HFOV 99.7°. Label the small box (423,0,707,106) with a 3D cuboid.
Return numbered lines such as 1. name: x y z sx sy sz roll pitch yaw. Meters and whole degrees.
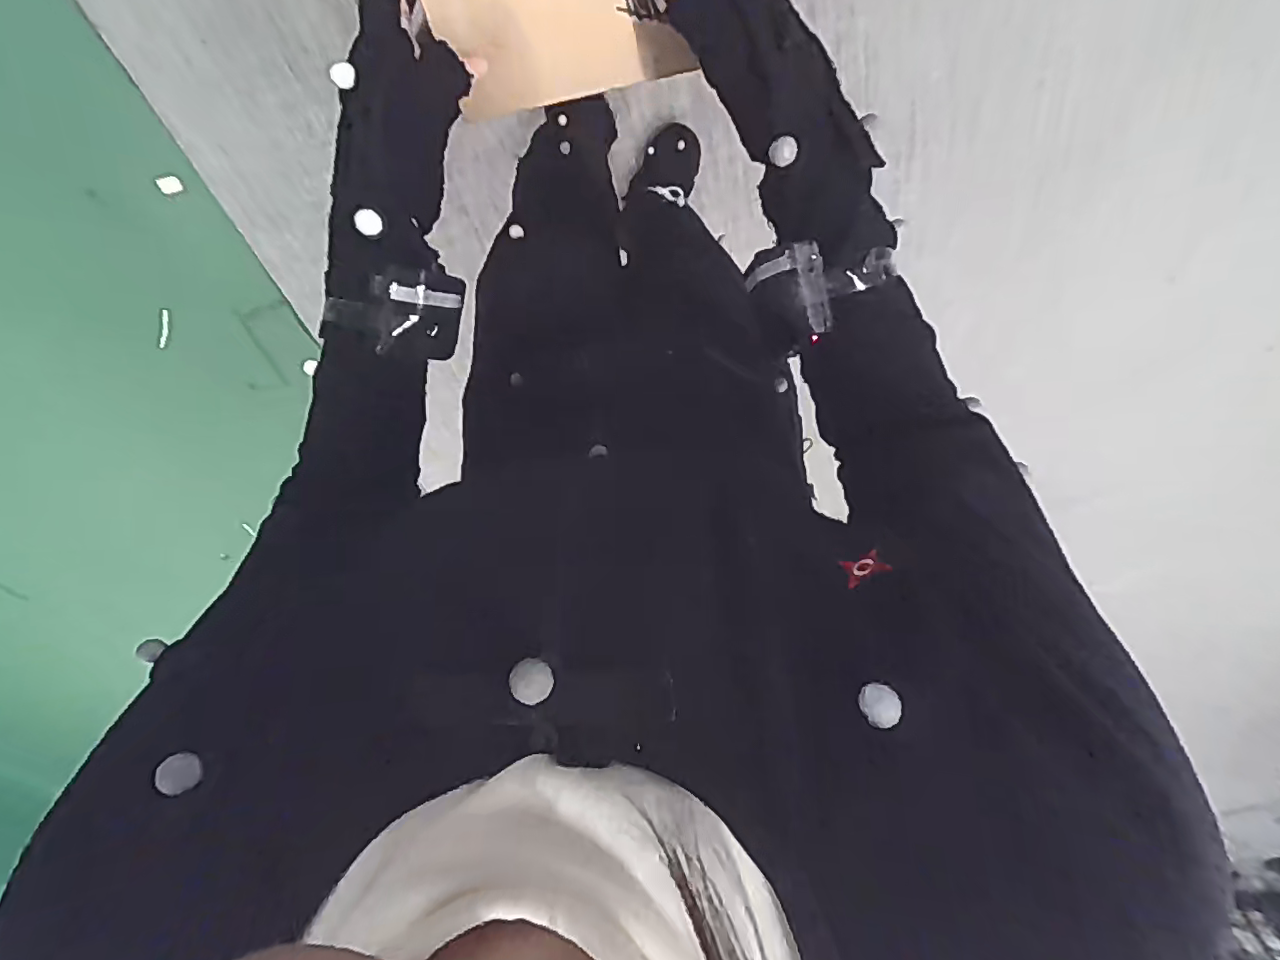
1. small box: -0.058 -0.381 0.361 0.179 0.176 0.168 -9 138 2
